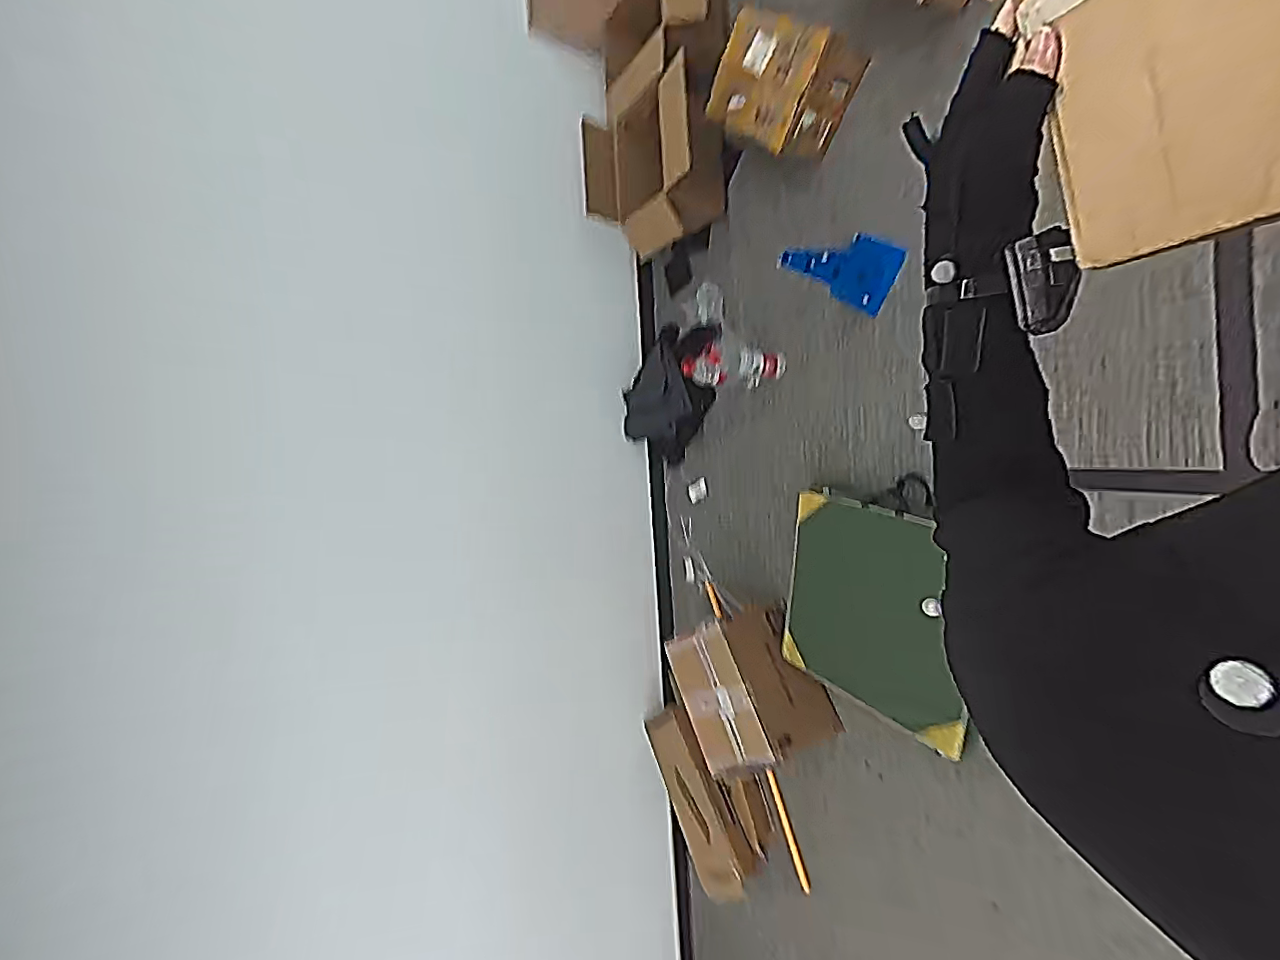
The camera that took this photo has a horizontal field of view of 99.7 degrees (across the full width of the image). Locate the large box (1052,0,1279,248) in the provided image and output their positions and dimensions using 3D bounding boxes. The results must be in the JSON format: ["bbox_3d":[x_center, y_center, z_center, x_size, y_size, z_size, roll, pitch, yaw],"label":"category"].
[{"bbox_3d":[0.473,-0.346,0.250,0.408,0.320,0.320,-7,102,54],"label":"large box"}]
